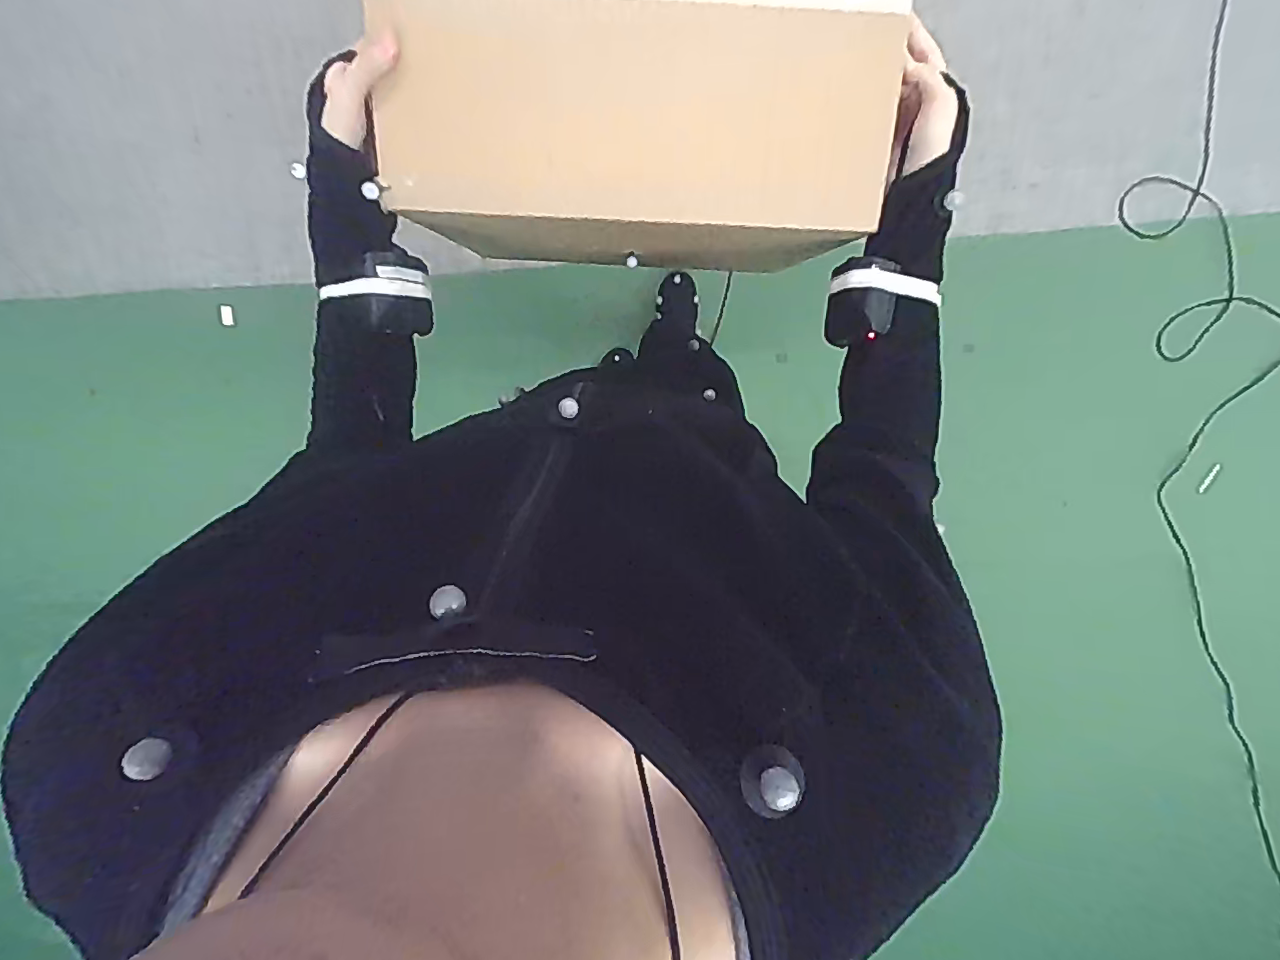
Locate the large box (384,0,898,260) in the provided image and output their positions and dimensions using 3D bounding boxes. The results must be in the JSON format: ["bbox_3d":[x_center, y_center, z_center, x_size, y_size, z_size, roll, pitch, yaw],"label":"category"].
[{"bbox_3d":[0.002,-0.409,0.557,0.408,0.320,0.320,2,105,-1],"label":"large box"}]
